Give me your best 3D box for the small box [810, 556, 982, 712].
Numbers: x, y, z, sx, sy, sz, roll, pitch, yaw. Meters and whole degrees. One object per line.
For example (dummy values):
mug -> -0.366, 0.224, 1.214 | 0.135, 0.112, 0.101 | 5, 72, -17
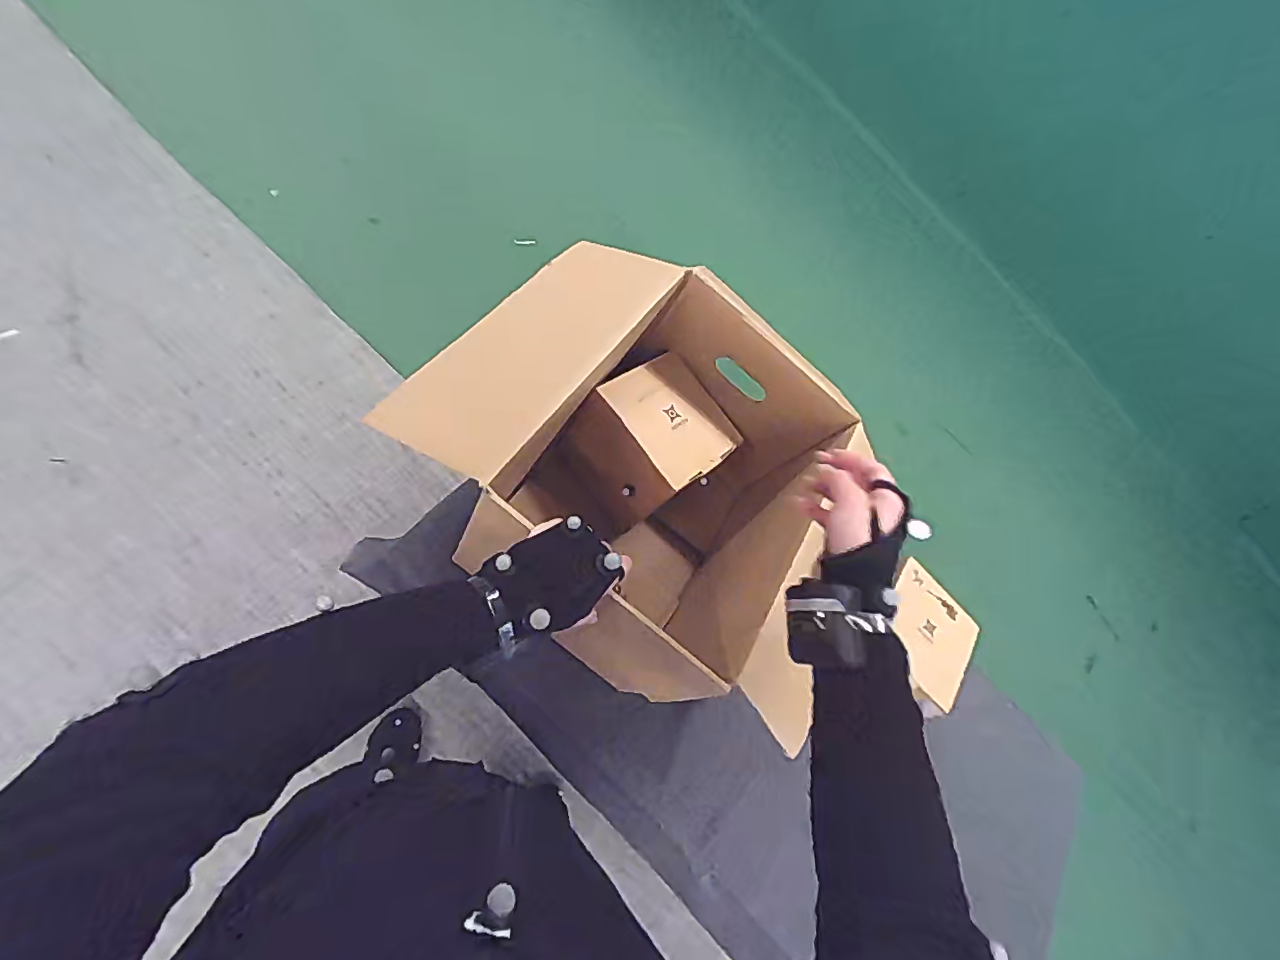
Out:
small box -> 0.413, 0.257, 0.897 | 0.168, 0.176, 0.179 | 48, 60, -1
